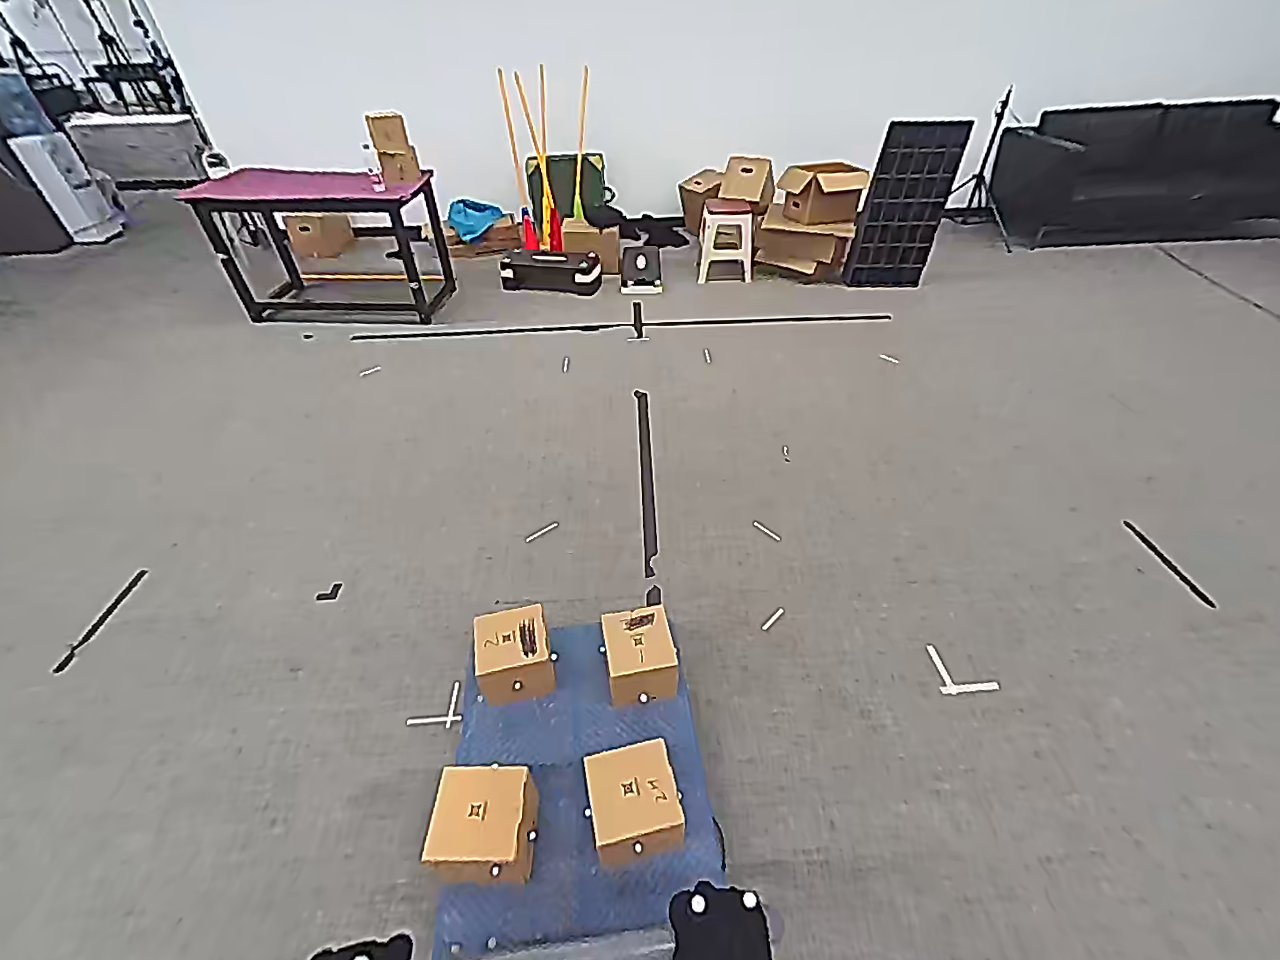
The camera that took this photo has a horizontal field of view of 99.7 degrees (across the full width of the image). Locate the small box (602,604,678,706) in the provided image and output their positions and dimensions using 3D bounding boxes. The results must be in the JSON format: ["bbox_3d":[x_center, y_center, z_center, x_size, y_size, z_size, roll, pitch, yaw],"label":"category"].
[{"bbox_3d":[-0.004,0.446,1.380,0.168,0.176,0.179,-8,43,-7],"label":"small box"}]

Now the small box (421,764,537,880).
[{"bbox_3d":[-0.318,0.701,1.106,0.179,0.176,0.168,0,42,-1],"label":"small box"}]

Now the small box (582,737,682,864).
[{"bbox_3d":[-0.016,0.672,1.130,0.179,0.176,0.168,-10,43,-9],"label":"small box"}]
